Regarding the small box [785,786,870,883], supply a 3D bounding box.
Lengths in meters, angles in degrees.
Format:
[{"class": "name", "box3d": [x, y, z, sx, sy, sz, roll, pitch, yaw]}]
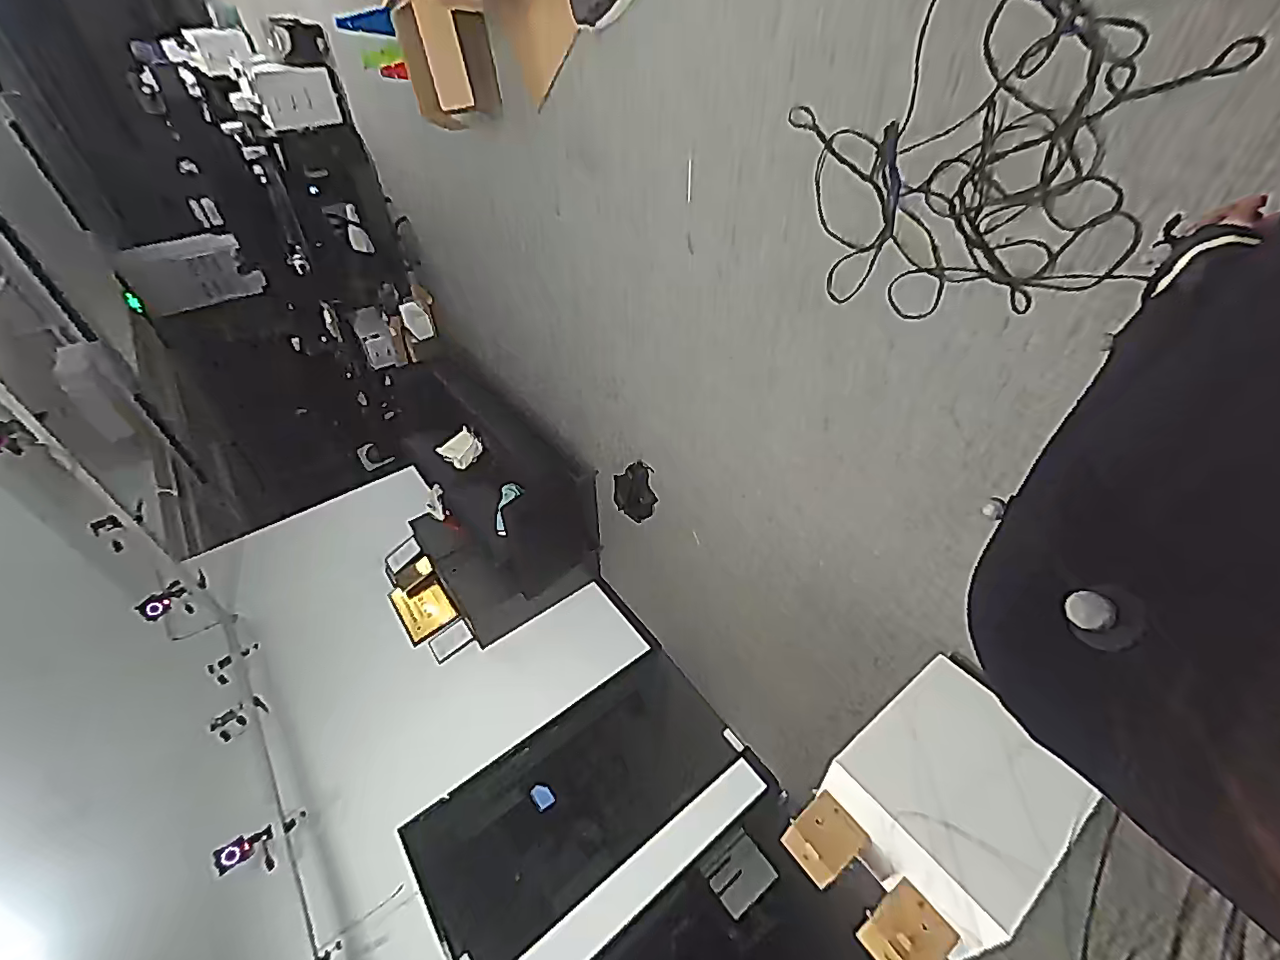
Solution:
[{"class": "small box", "box3d": [0.577, 1.086, 1.665, 0.168, 0.176, 0.179, 42, 149, 36]}]

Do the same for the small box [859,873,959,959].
[{"class": "small box", "box3d": [0.748, 1.248, 1.505, 0.168, 0.176, 0.179, 41, 146, 39]}]
